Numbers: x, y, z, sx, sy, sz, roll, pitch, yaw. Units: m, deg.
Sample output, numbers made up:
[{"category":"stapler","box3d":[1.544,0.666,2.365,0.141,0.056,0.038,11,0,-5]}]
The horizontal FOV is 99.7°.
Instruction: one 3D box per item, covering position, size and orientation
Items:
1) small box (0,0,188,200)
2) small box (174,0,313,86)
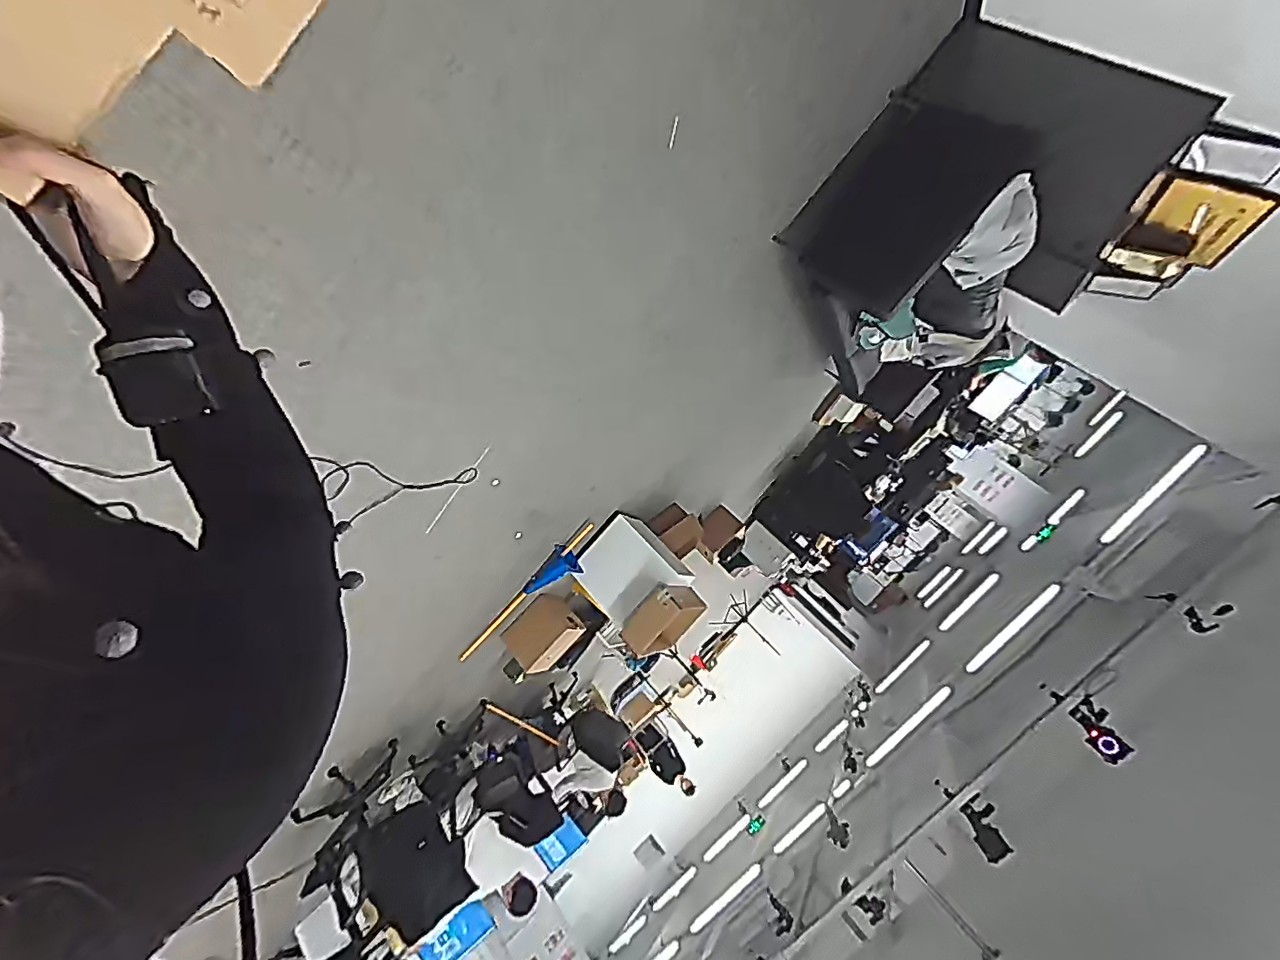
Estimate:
[{"category":"small box","box3d":[-0.423,-0.307,0.294,0.179,0.176,0.168,-55,164,-3]},{"category":"small box","box3d":[-0.596,-0.703,0.737,0.179,0.176,0.168,-48,157,6]}]
